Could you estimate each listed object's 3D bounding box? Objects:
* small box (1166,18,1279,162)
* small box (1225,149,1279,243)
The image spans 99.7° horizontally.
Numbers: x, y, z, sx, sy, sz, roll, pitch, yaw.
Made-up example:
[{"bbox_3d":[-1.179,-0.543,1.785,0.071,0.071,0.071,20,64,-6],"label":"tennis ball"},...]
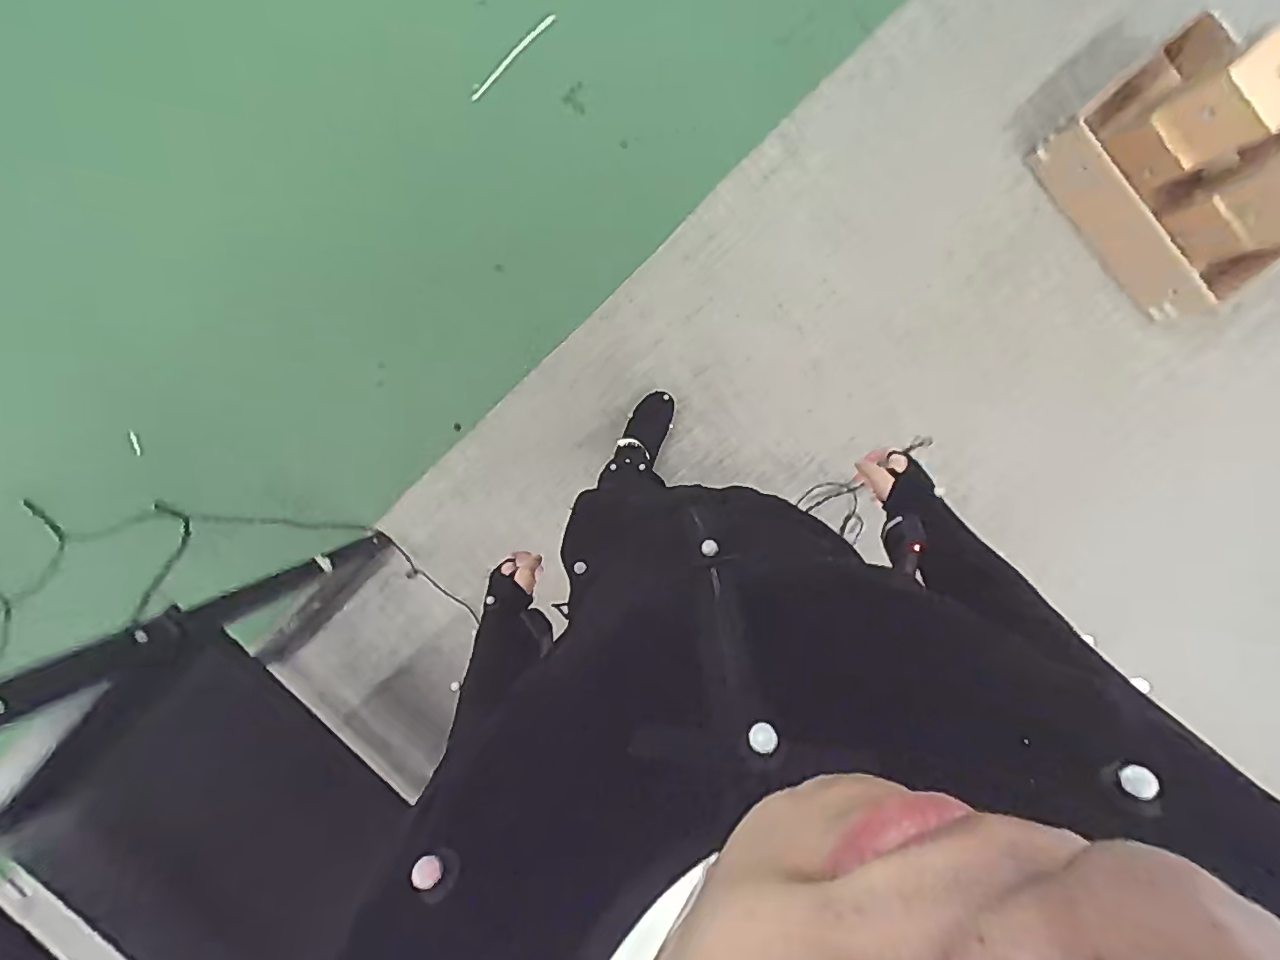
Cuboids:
[{"bbox_3d":[1.334,-0.855,1.195,0.179,0.176,0.168,-44,95,5],"label":"small box"},{"bbox_3d":[1.499,-0.659,1.205,0.168,0.176,0.179,-39,93,6],"label":"small box"}]
